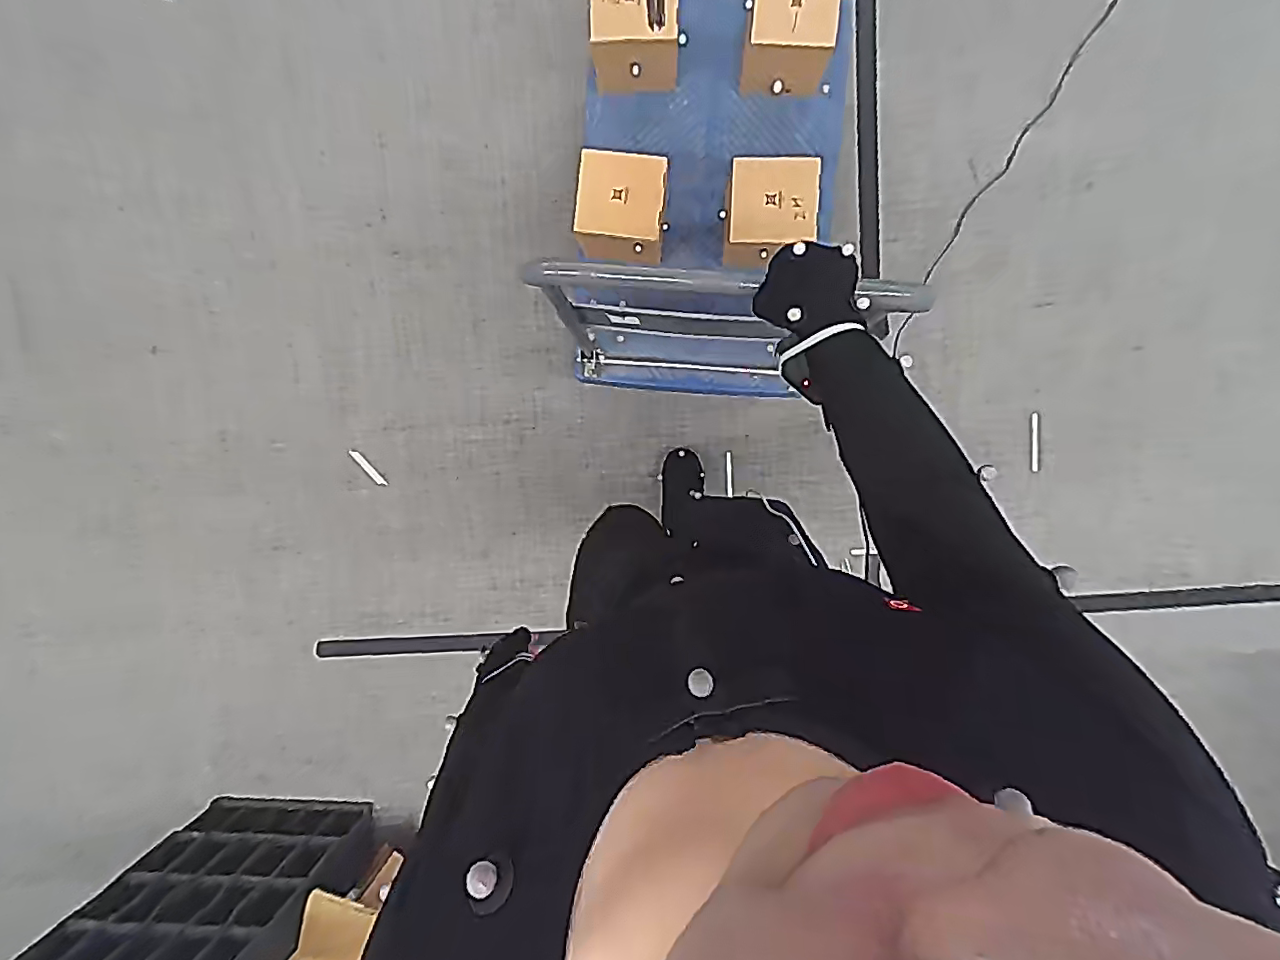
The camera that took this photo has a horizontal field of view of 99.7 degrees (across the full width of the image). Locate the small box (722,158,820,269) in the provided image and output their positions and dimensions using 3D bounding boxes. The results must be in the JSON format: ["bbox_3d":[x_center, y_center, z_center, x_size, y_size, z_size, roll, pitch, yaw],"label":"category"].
[{"bbox_3d":[0.272,-0.561,1.157,0.179,0.176,0.168,2,95,3],"label":"small box"}]

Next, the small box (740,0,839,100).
[{"bbox_3d":[0.307,-0.935,1.123,0.168,0.176,0.179,5,96,3],"label":"small box"}]

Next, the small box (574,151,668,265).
[{"bbox_3d":[-0.037,-0.580,1.173,0.179,0.176,0.168,7,95,1],"label":"small box"}]
